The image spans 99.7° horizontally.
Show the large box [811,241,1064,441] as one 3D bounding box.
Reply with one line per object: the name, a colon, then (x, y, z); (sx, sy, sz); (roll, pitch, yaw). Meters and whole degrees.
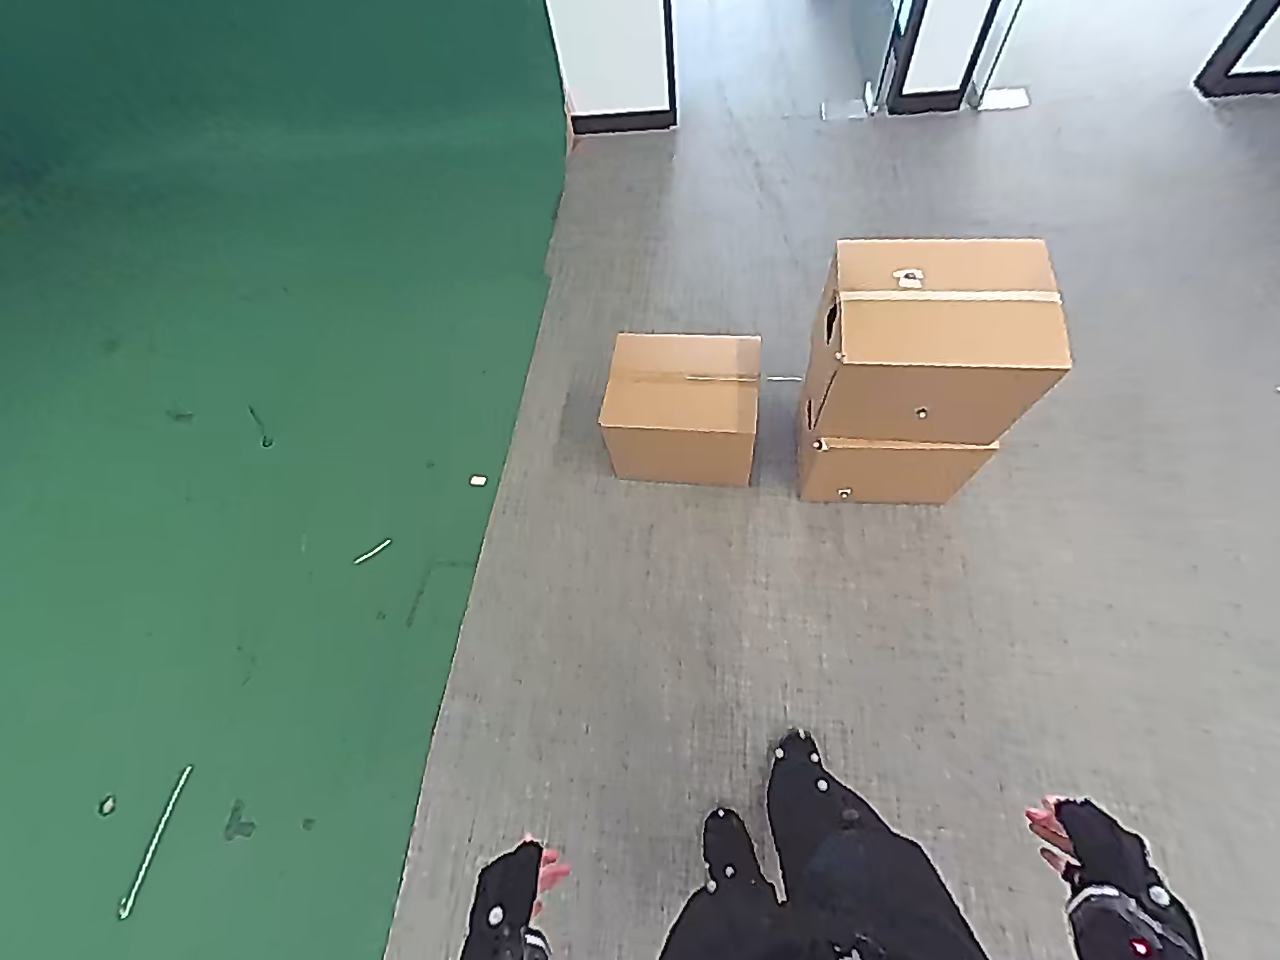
large box: (0.608, -0.290, 1.196); (0.408, 0.320, 0.320); (3, 67, 10)
